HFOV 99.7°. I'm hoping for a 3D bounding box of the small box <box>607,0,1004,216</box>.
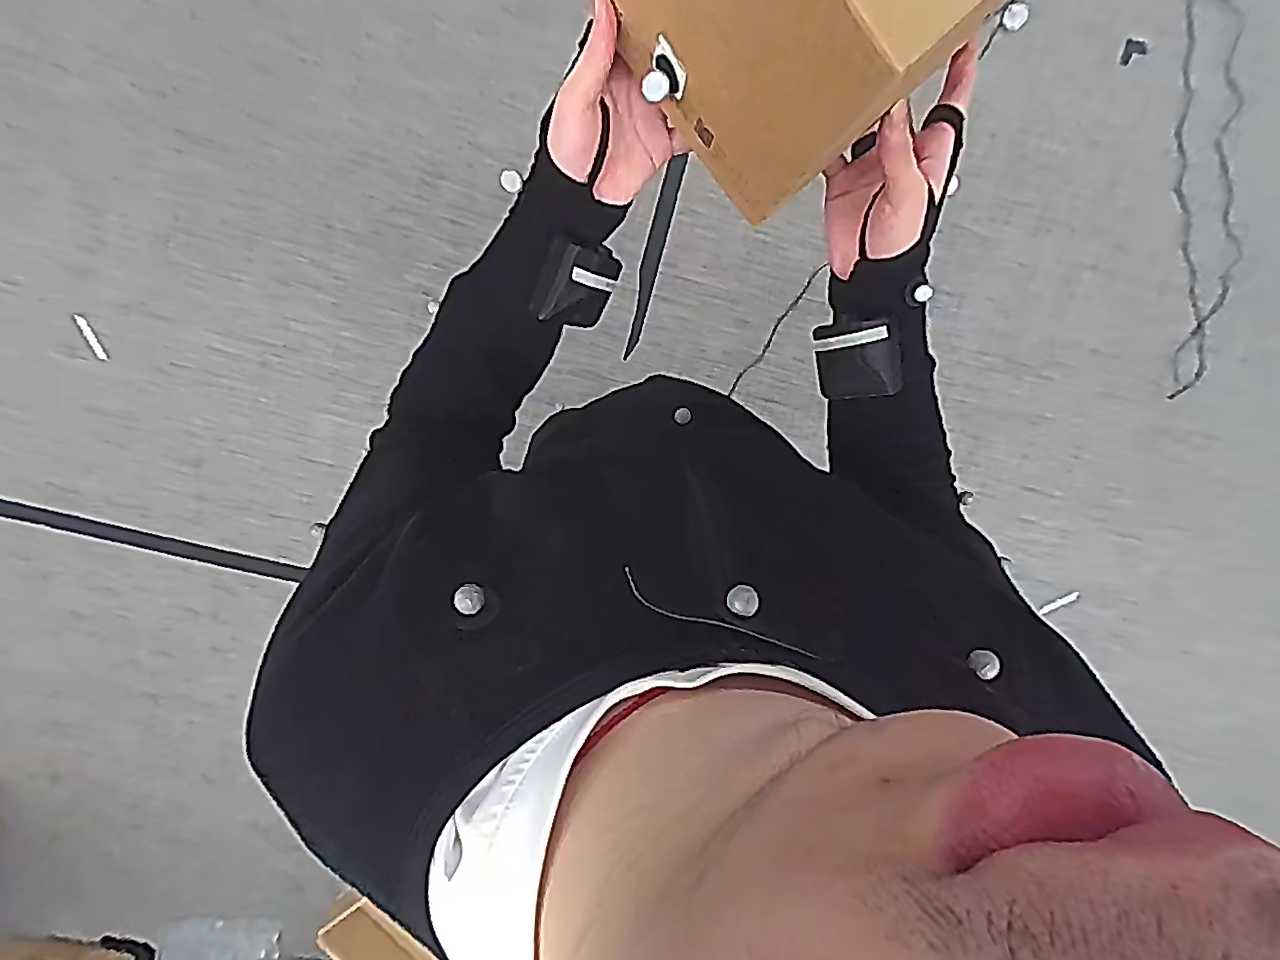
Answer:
[{"bbox_3d":[0.096,-0.278,0.272,0.179,0.176,0.168,-42,98,0],"label":"small box"}]
